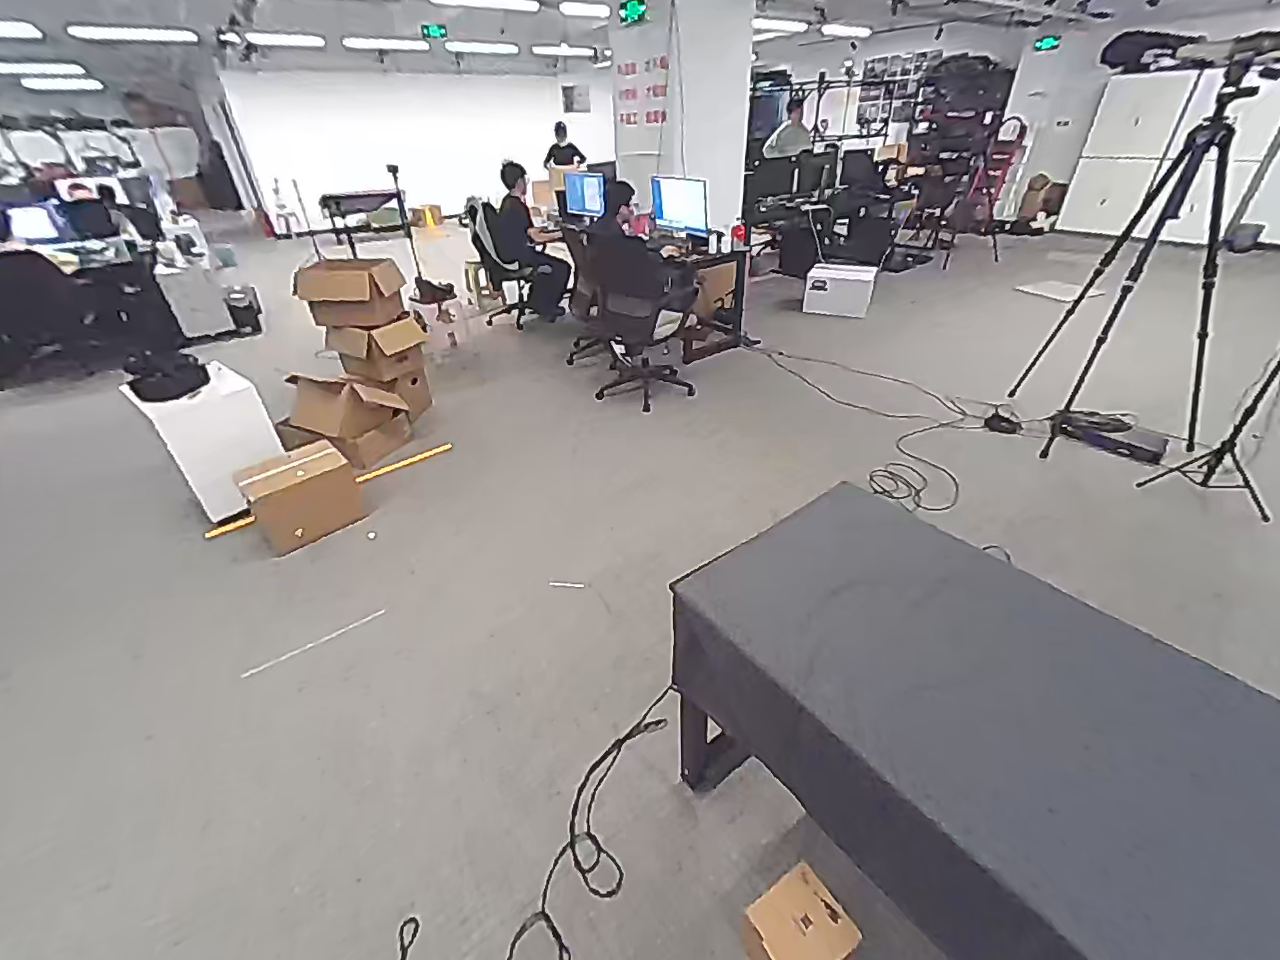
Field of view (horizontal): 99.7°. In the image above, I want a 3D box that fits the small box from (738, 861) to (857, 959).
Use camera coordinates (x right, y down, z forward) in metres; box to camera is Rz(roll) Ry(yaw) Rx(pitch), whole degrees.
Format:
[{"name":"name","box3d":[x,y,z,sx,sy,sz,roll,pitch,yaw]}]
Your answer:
[{"name":"small box","box3d":[0.322,0.964,1.131,0.179,0.176,0.168,-20,37,-26]}]
